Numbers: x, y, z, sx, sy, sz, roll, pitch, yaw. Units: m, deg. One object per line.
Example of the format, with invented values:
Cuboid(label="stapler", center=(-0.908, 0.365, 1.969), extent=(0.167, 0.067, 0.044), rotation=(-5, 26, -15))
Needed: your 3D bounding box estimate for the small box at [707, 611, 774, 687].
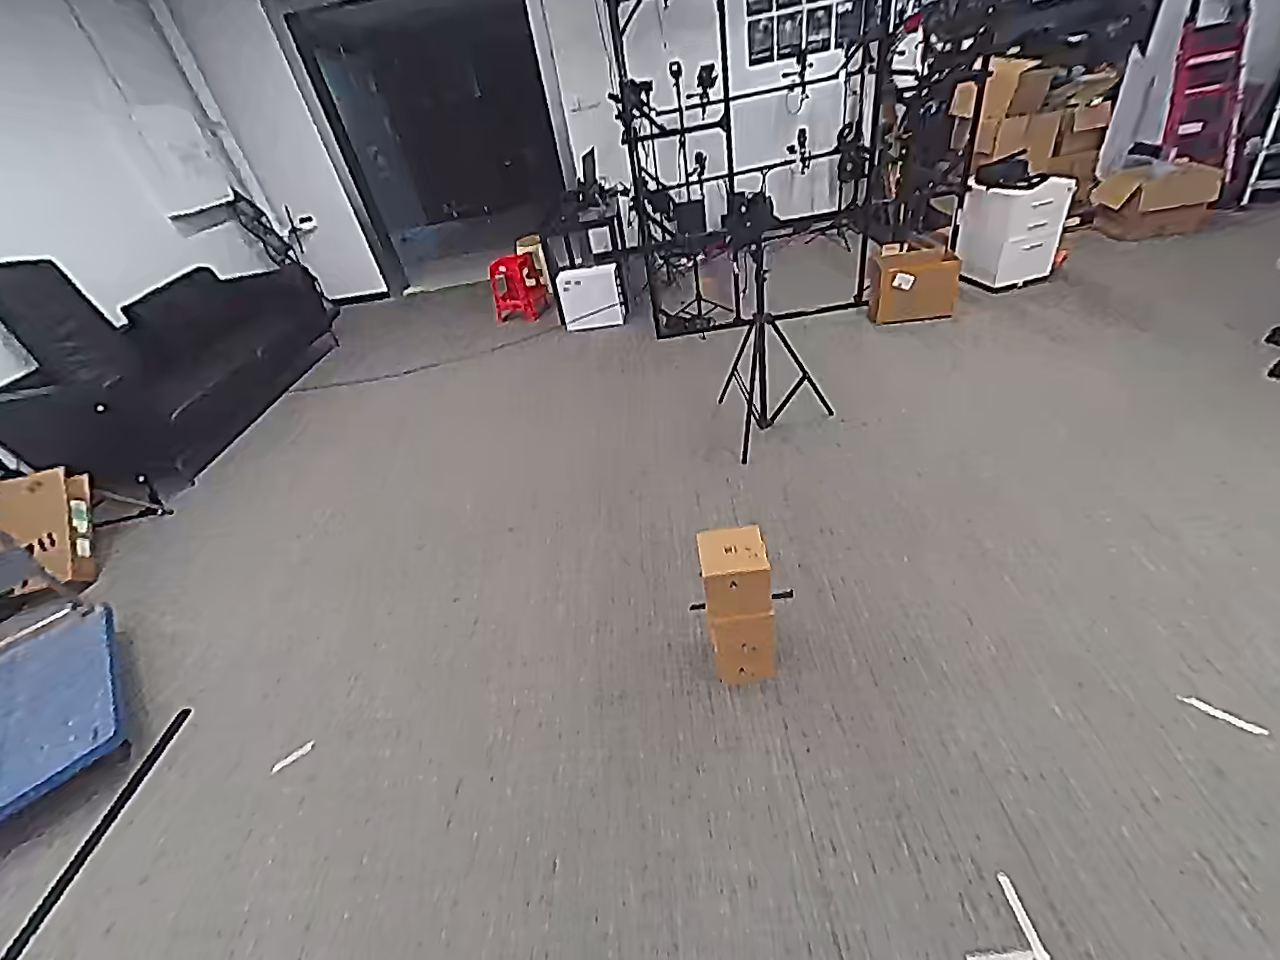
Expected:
Cuboid(label="small box", center=(0.309, 0.508, 1.672), extent=(0.168, 0.176, 0.179), rotation=(-11, 36, 1))

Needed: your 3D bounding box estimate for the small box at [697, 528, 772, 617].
Cuboid(label="small box", center=(0.256, 0.255, 1.467), extent=(0.179, 0.176, 0.168), rotation=(-8, 38, 5))
